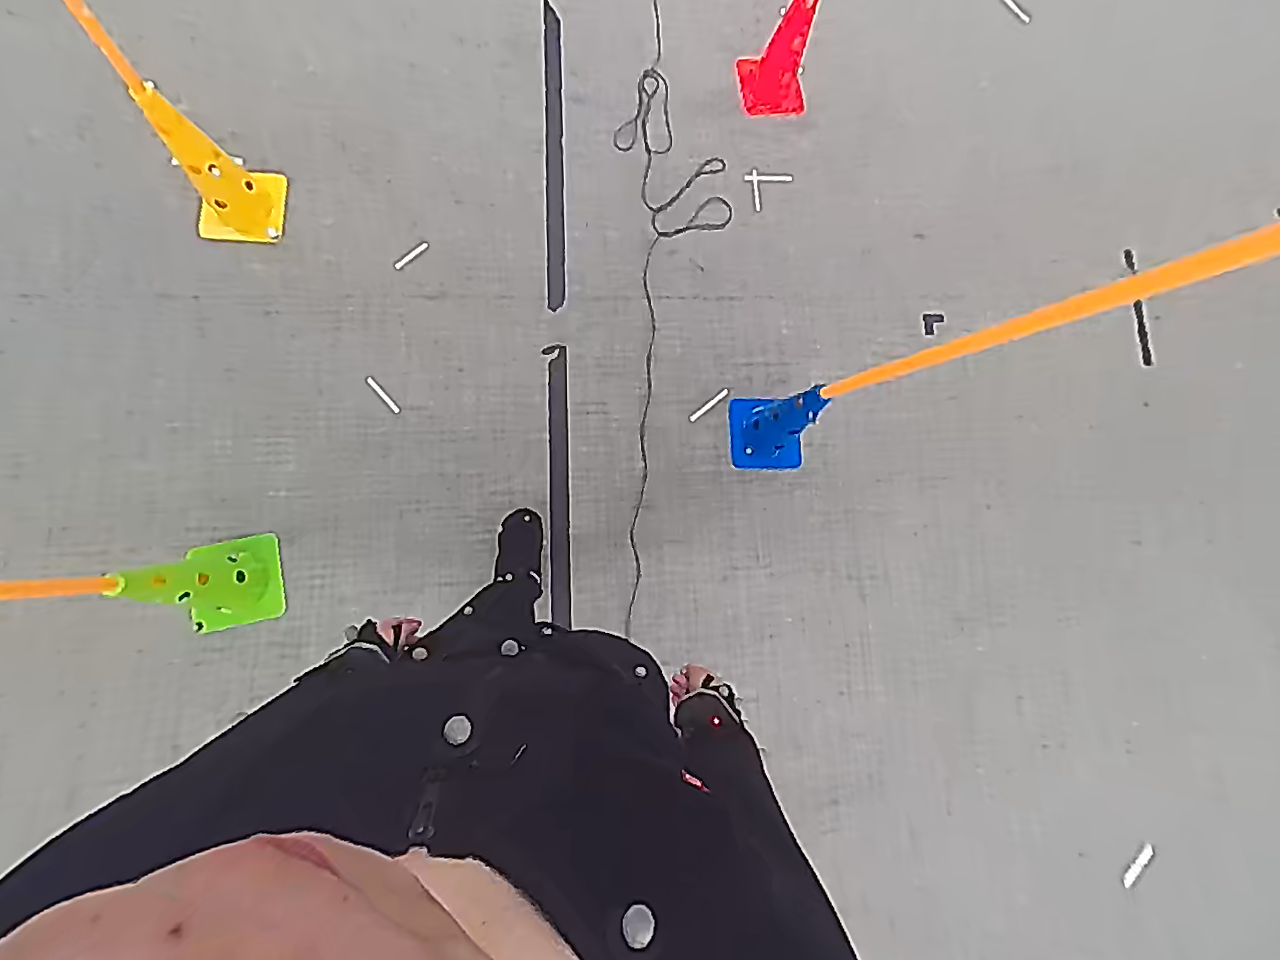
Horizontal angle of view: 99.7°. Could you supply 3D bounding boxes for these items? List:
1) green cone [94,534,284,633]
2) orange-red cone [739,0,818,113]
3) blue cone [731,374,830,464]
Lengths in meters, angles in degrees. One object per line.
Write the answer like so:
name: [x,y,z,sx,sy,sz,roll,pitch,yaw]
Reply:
green cone: [-0.922,0.204,1.091,0.200,0.368,0.202,-12,80,-9]
orange-red cone: [0.433,-1.261,1.517,0.199,0.360,0.198,-7,81,-7]
blue cone: [0.369,-0.167,1.333,0.193,0.380,0.192,1,79,-7]
